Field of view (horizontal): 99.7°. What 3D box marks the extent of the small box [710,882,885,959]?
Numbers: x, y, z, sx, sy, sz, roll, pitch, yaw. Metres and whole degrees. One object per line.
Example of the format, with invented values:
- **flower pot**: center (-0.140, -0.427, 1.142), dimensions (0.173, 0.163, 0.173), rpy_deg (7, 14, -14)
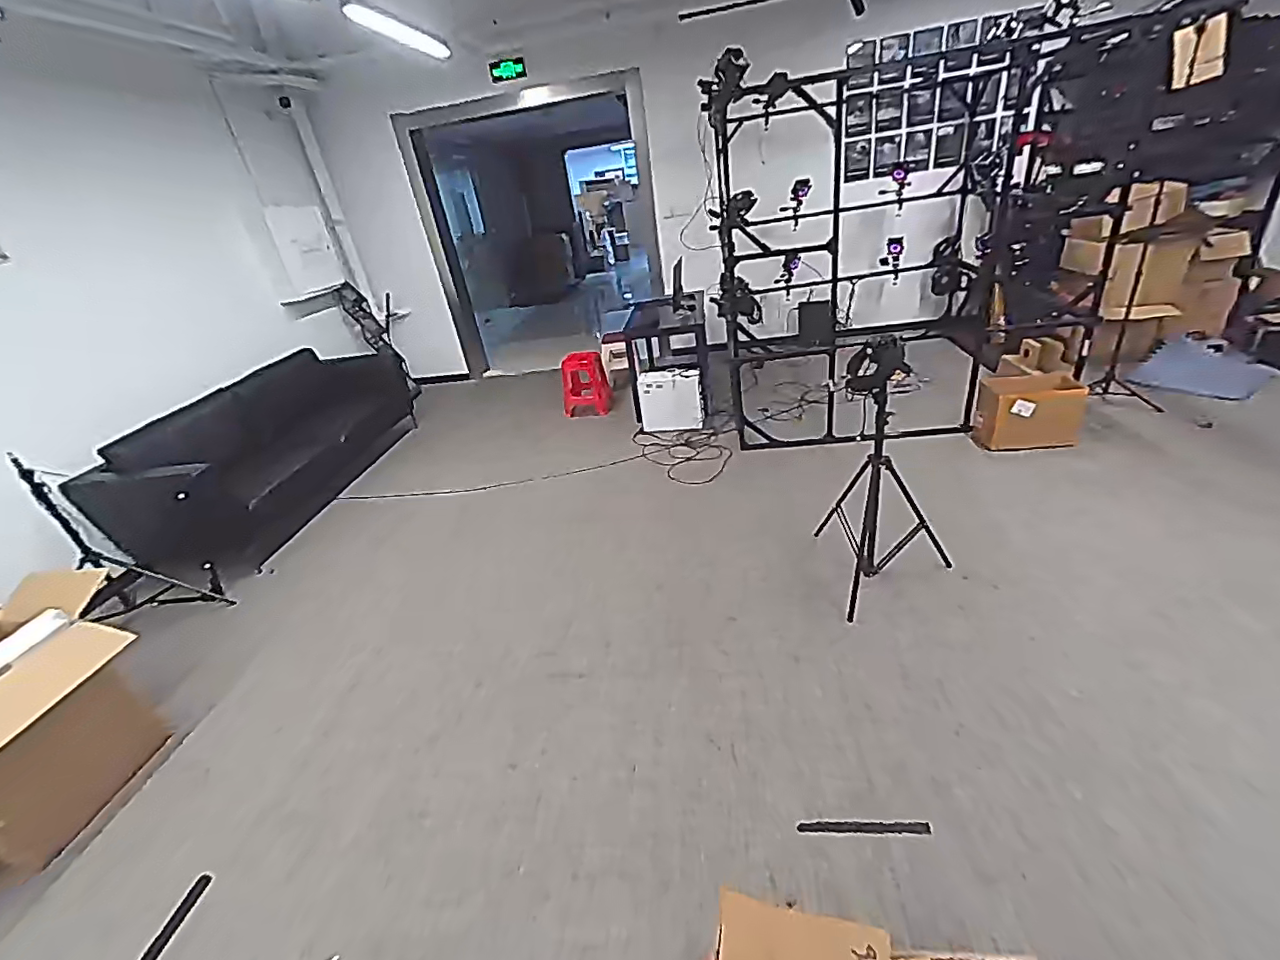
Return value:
- **small box**: center (0.164, 0.572, 0.601), dimensions (0.179, 0.176, 0.168), rpy_deg (6, 54, 12)
